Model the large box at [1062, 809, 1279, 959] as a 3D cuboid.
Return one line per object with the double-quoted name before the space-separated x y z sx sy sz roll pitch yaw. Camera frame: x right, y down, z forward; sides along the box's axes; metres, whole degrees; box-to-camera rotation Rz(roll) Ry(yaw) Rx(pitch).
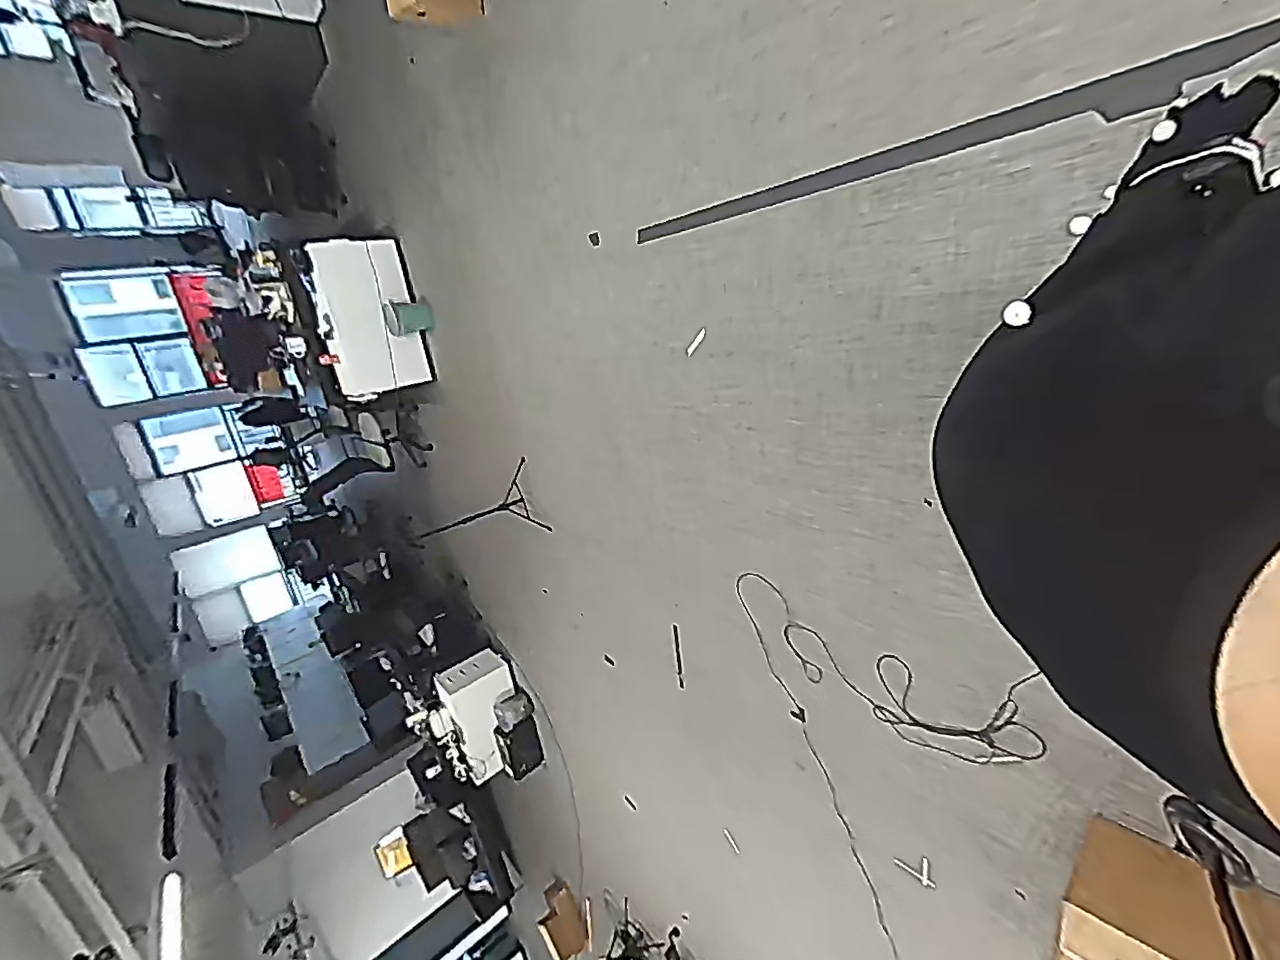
"large box" 1.291 1.098 1.279 0.408 0.320 0.320 9 115 50
